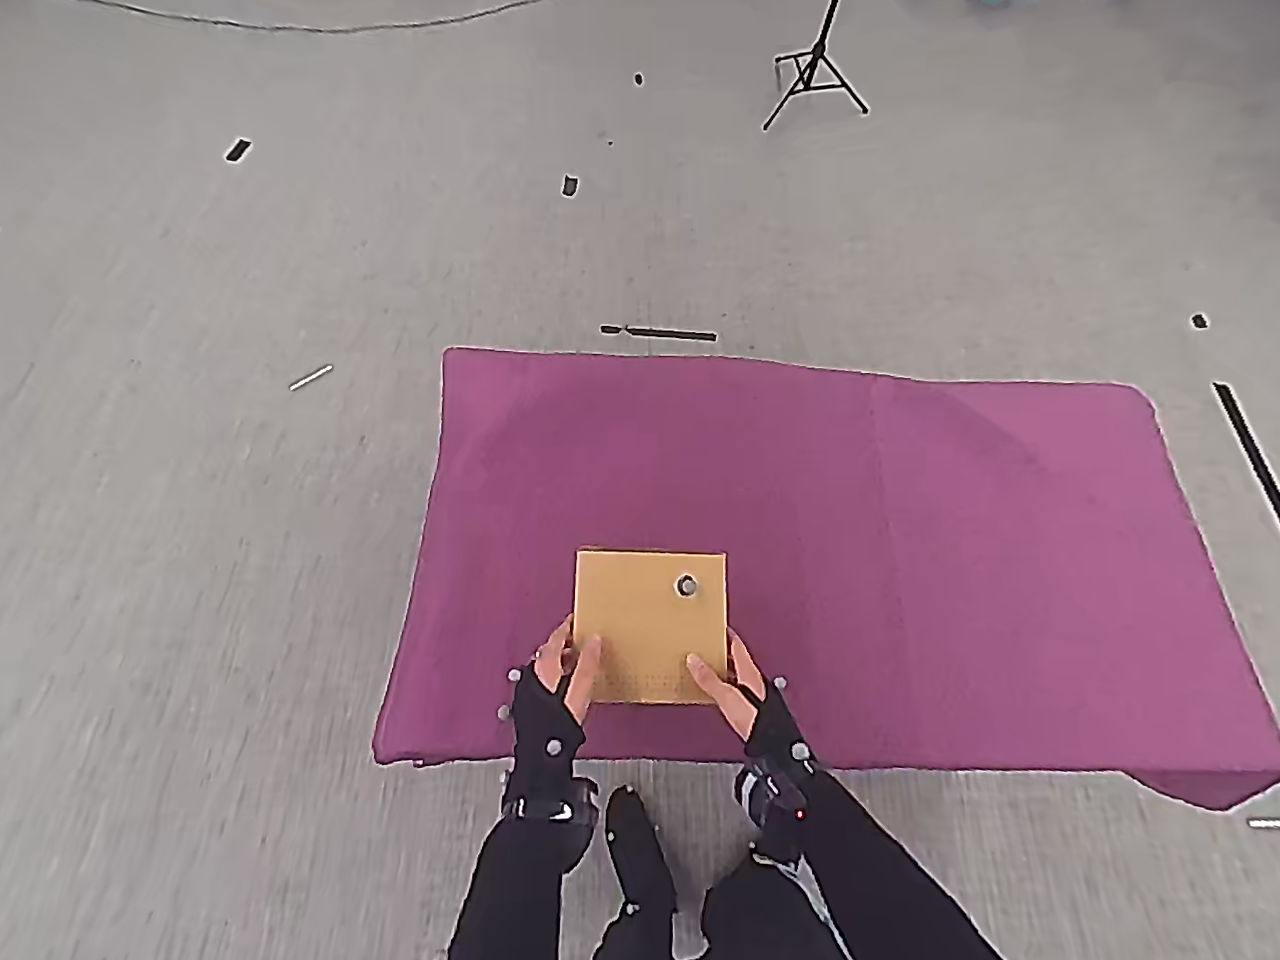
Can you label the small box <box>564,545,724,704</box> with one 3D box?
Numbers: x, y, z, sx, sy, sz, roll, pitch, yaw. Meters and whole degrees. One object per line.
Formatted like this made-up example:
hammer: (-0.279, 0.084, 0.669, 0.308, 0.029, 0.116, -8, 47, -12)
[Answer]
small box: (0.003, 0.181, 0.676, 0.179, 0.168, 0.176, 3, 73, -4)
